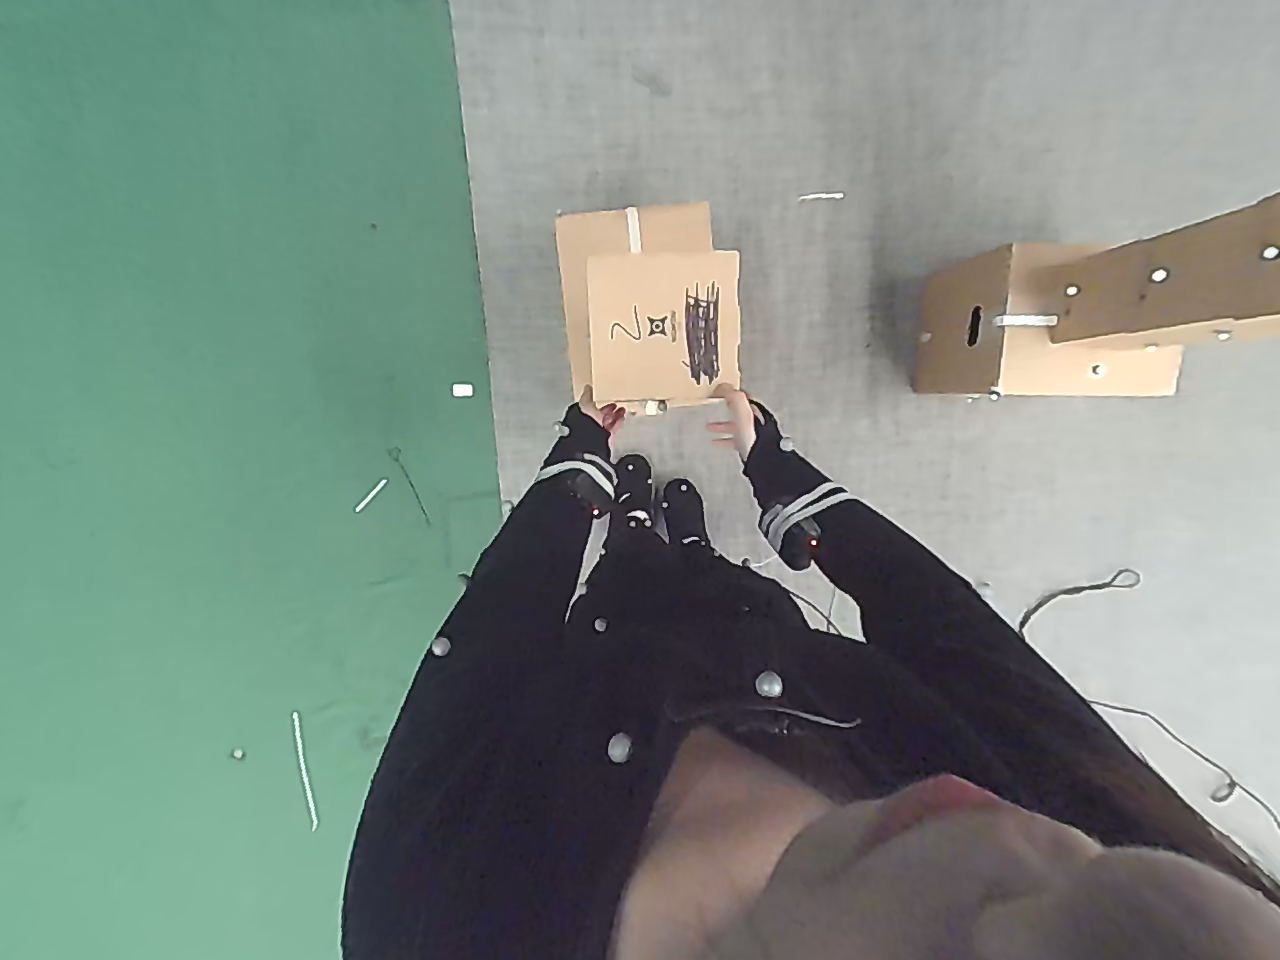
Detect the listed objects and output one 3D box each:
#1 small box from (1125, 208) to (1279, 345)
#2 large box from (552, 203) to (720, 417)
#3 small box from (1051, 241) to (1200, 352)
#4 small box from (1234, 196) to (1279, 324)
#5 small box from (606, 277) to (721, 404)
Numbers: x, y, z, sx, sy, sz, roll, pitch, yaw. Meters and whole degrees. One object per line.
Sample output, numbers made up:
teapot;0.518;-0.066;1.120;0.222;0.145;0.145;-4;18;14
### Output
small box;0.964;-0.319;0.883;0.179;0.176;0.168;6;96;-2
large box;-0.006;-0.363;1.253;0.320;0.320;0.408;-6;98;-1
small box;0.955;-0.344;1.045;0.179;0.176;0.168;4;97;-3
small box;0.969;-0.302;0.720;0.168;0.176;0.179;5;97;-3
small box;0.034;-0.215;0.864;0.168;0.176;0.179;-3;98;-2
